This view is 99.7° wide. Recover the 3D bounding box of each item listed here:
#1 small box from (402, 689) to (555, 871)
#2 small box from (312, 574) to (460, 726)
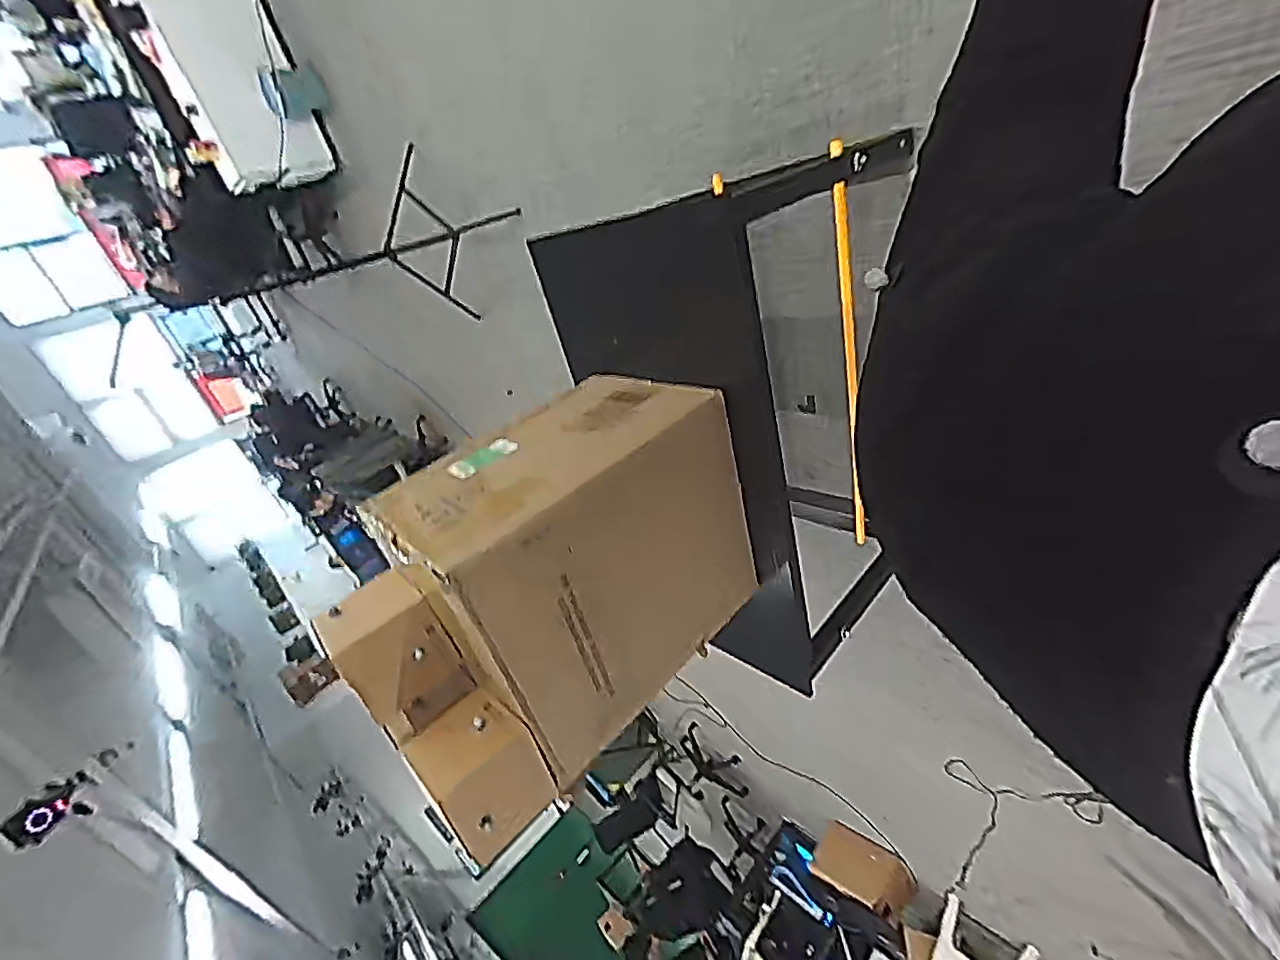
[{"bbox_3d":[-0.273,0.507,0.937,0.168,0.176,0.179,12,126,47],"label":"small box"},{"bbox_3d":[-0.459,0.297,0.989,0.179,0.176,0.168,15,133,48],"label":"small box"}]
